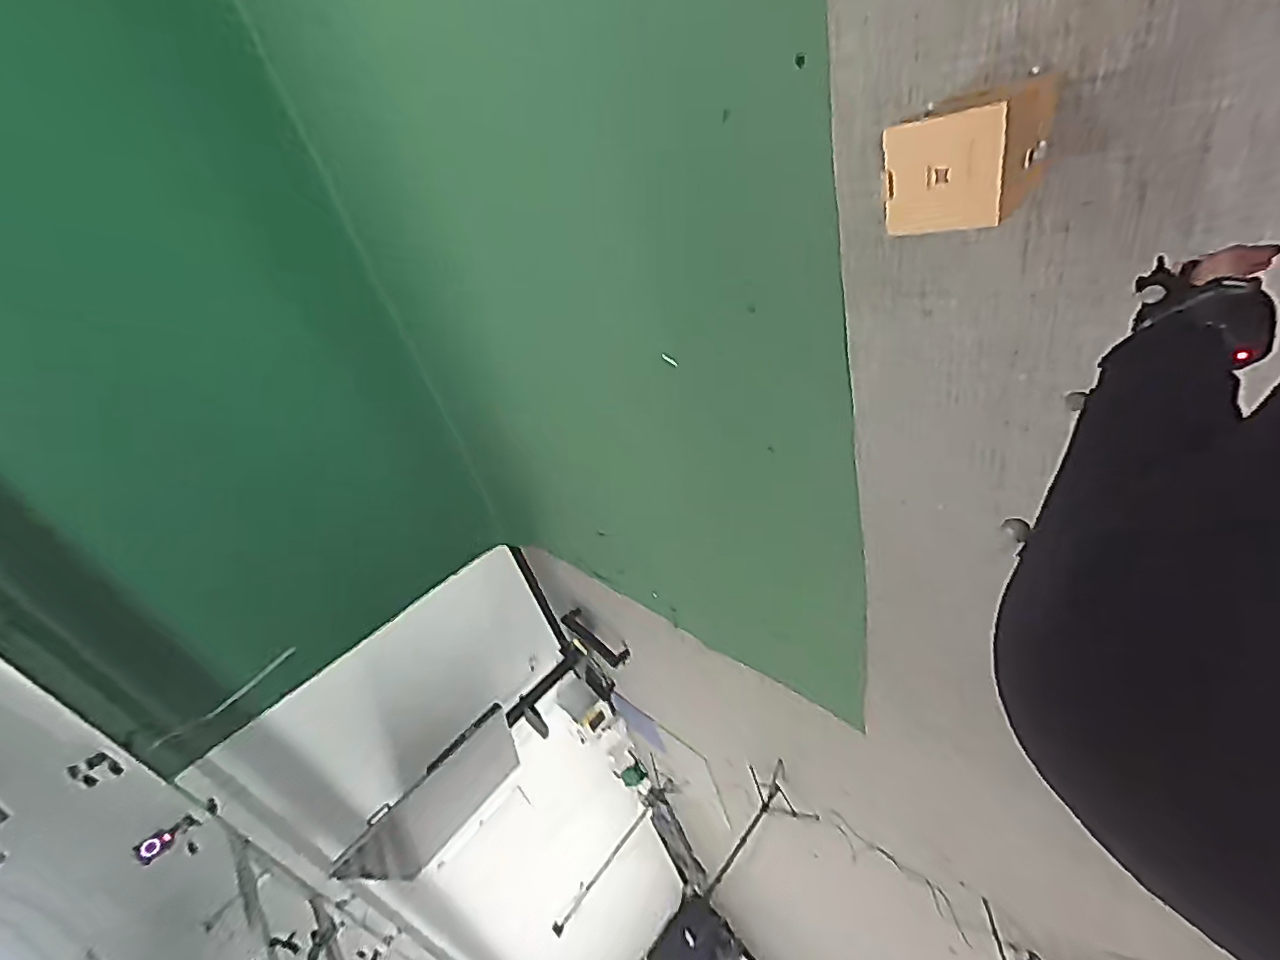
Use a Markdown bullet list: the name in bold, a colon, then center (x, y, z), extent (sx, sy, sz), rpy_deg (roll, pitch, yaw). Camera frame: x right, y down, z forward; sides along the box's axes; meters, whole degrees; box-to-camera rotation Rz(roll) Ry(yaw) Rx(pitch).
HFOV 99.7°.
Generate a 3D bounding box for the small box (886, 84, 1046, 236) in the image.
- **small box**: center (0.527, -0.516, 0.883), extent (0.179, 0.176, 0.168), rpy_deg (17, 136, 44)

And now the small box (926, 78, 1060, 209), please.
- **small box**: center (0.629, -0.601, 0.977), extent (0.168, 0.176, 0.179), rpy_deg (21, 138, 42)
